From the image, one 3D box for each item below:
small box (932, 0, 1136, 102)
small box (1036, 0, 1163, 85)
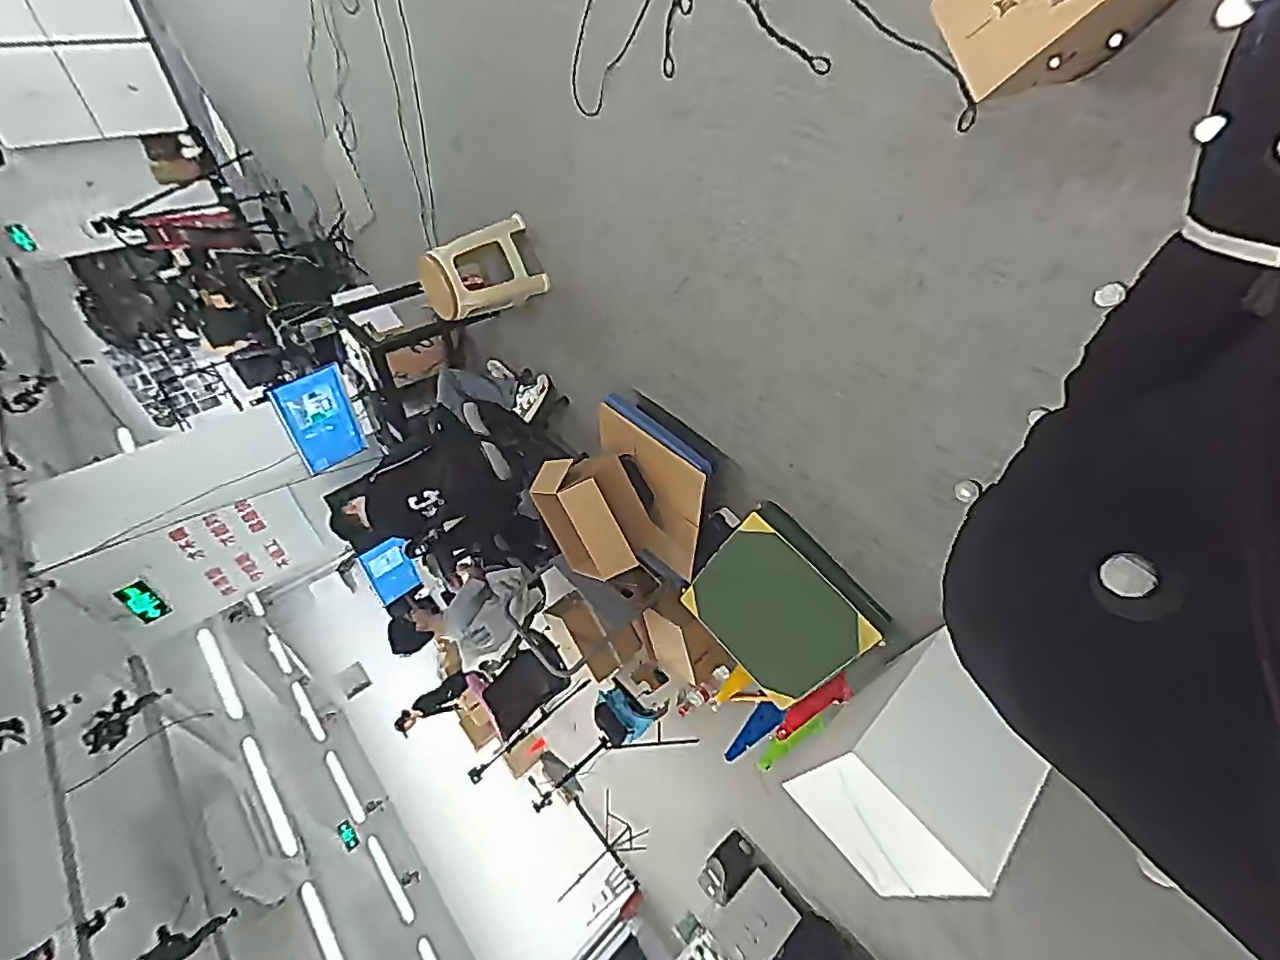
[{"bbox_3d":[0.569,-0.690,0.772,0.168,0.176,0.179,61,151,-3],"label":"small box"},{"bbox_3d":[0.694,-0.770,0.845,0.179,0.176,0.168,58,150,1],"label":"small box"}]
